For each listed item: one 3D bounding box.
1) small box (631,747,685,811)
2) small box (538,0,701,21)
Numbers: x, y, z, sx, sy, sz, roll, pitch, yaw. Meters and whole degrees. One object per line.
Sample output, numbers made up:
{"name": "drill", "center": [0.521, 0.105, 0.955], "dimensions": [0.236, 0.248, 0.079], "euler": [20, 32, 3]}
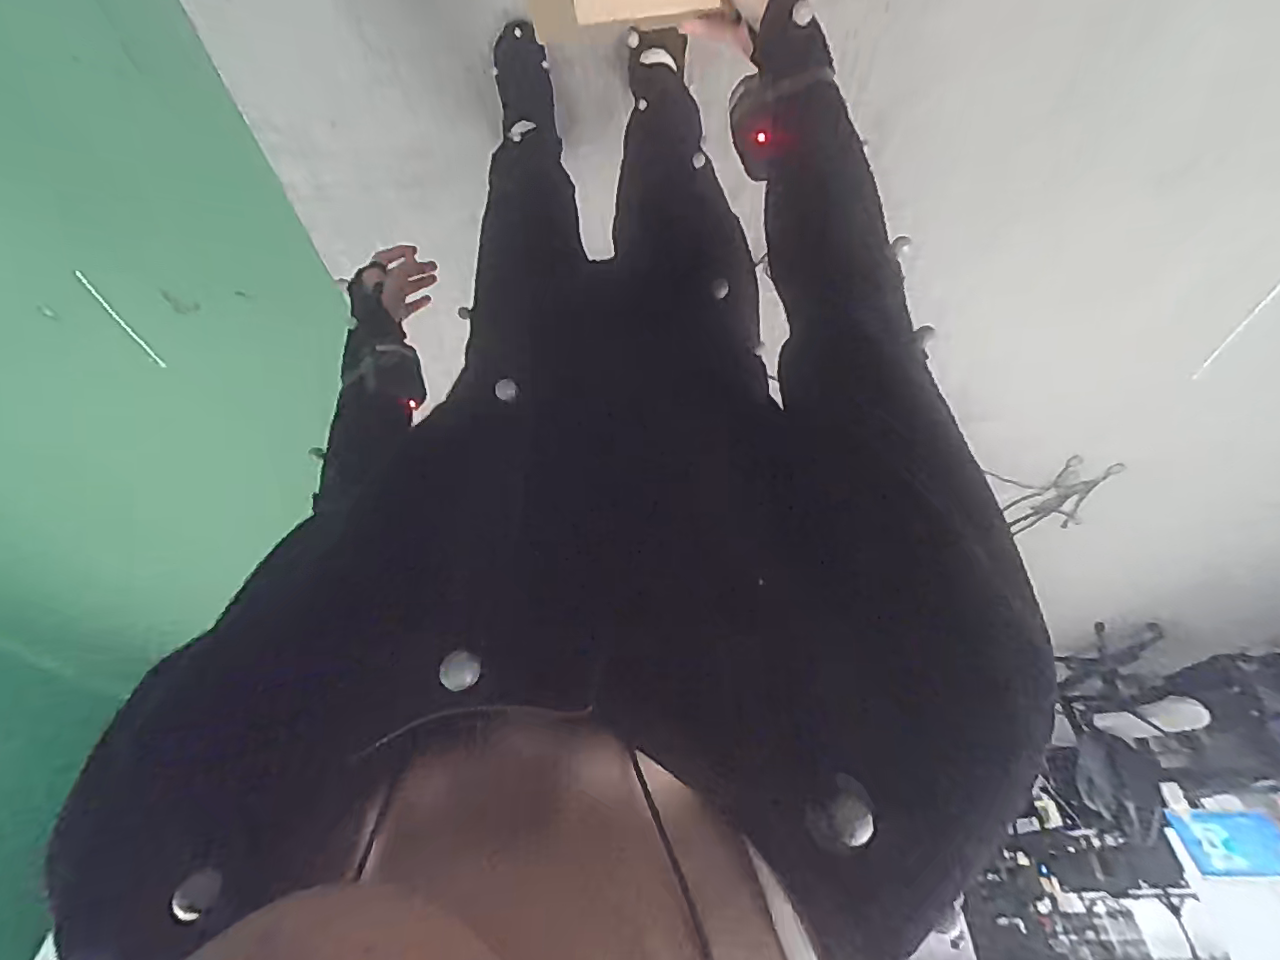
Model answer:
{"name": "small box", "center": [0.055, 0.991, 1.796], "dimensions": [0.168, 0.176, 0.179], "euler": [-2, 144, -1]}
{"name": "small box", "center": [-0.011, -0.508, 0.452], "dimensions": [0.168, 0.176, 0.179], "euler": [-18, 128, -11]}
